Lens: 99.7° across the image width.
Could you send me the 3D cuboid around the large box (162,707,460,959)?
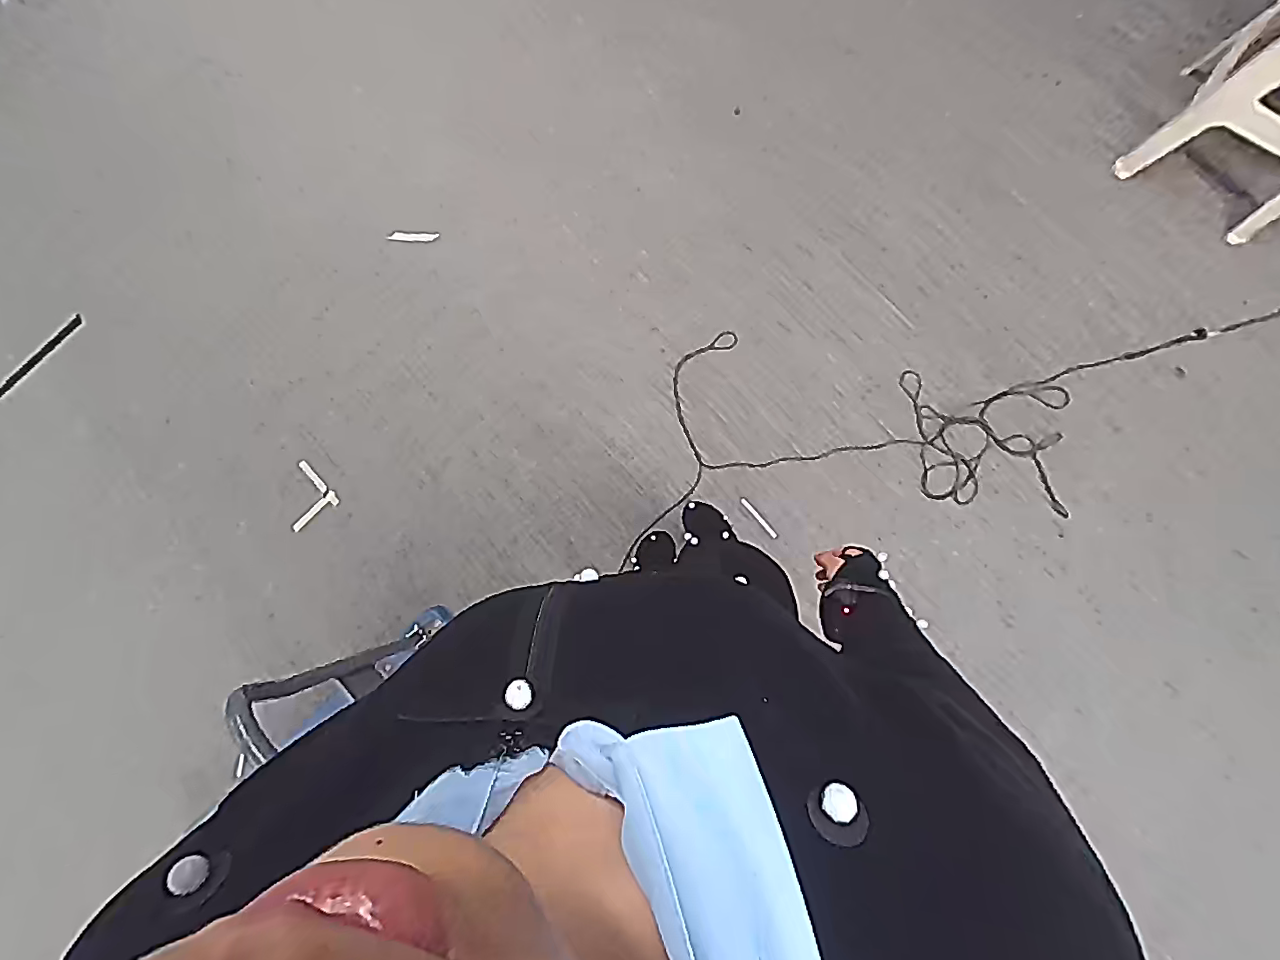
[{"bbox_3d":[-0.680,0.792,1.180,0.320,0.320,0.408,-41,84,0],"label":"large box"}]
